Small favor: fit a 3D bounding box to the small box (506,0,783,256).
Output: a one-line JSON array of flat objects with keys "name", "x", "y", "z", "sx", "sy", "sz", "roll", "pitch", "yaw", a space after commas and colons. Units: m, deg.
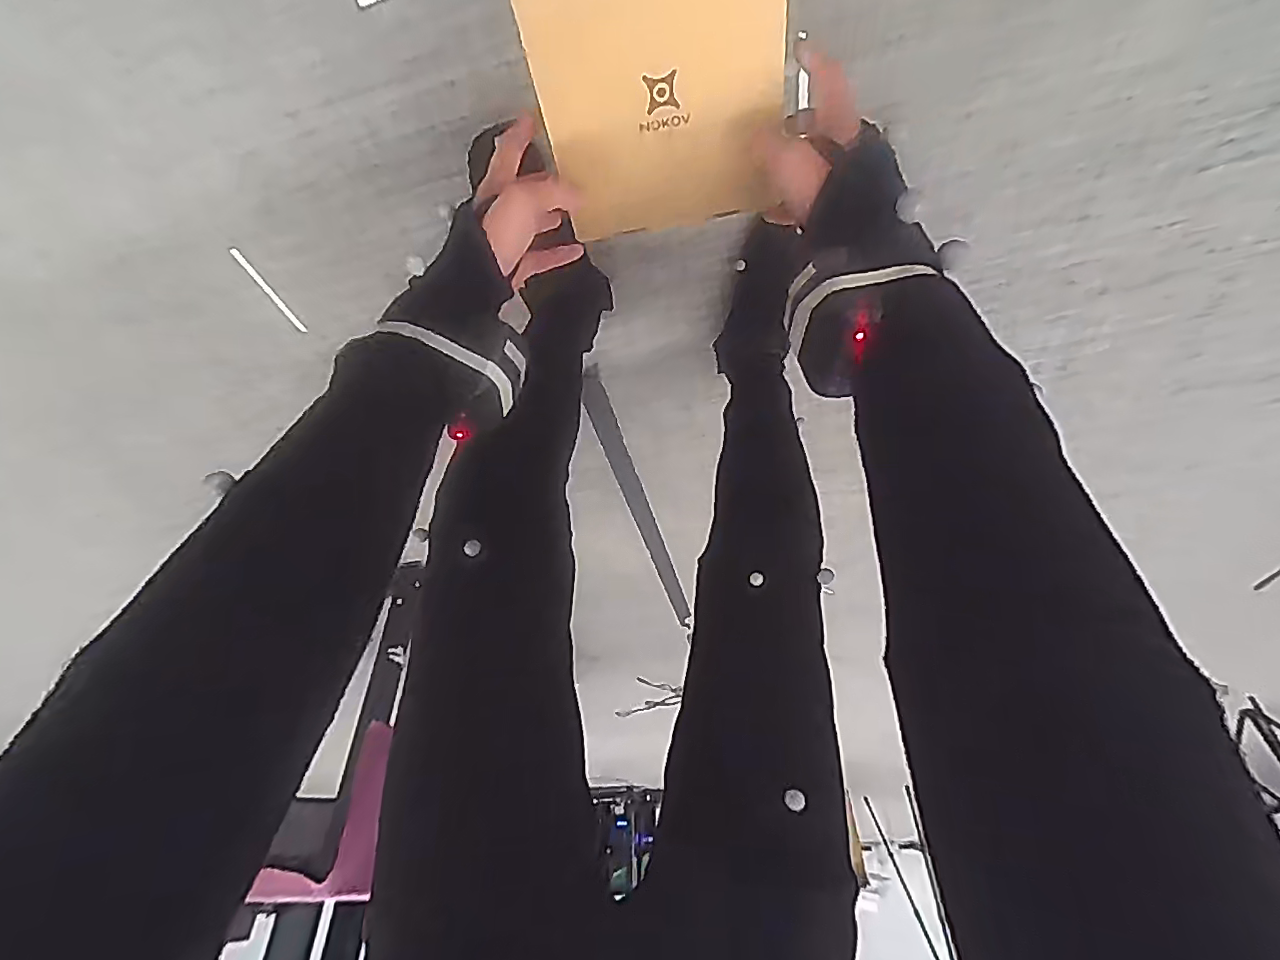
[{"name": "small box", "x": 0.009, "y": -0.309, "z": 0.417, "sx": 0.168, "sy": 0.176, "sz": 0.179, "roll": -8, "pitch": 142, "yaw": 7}]
